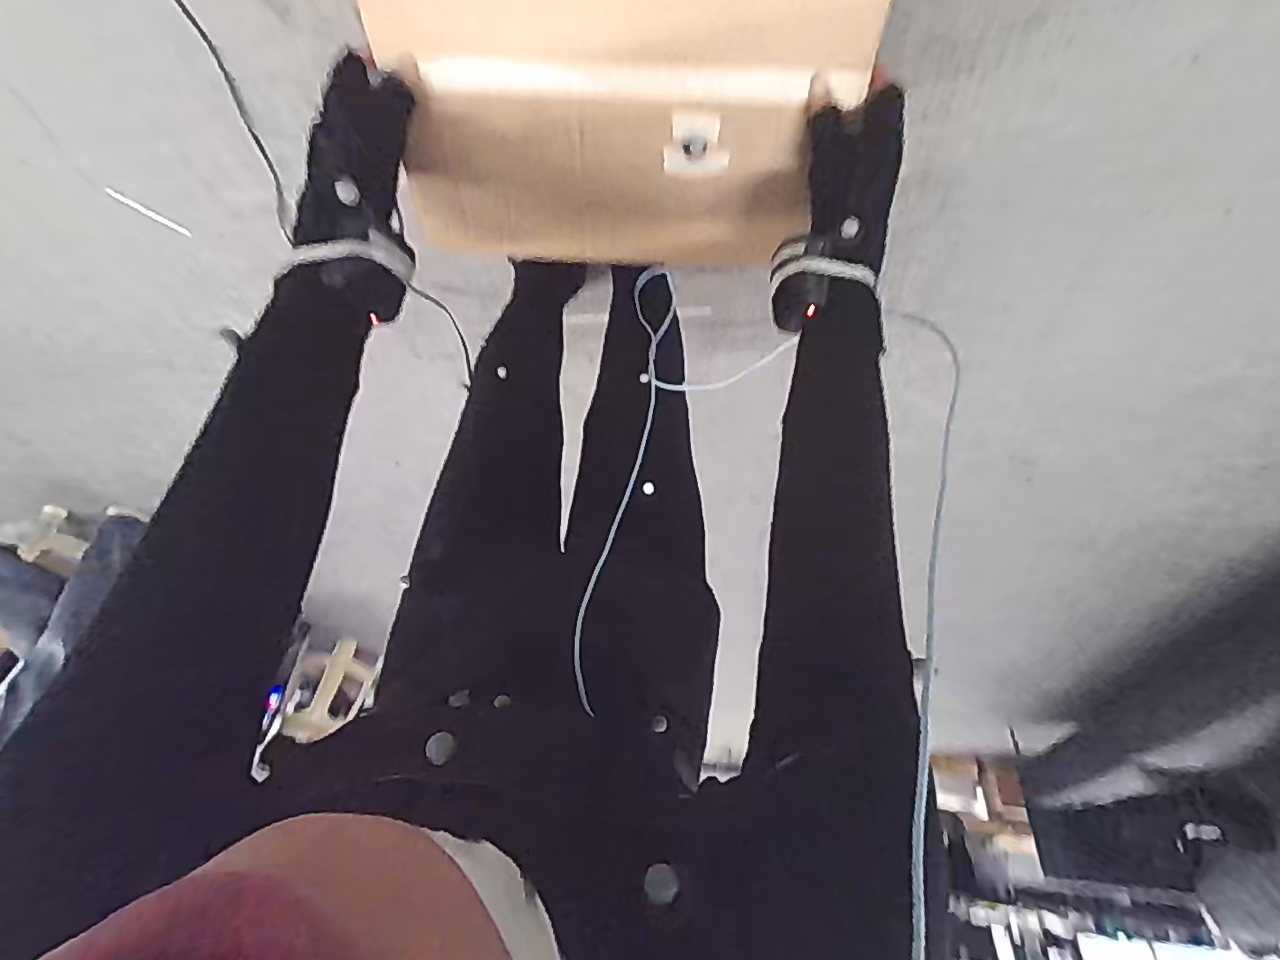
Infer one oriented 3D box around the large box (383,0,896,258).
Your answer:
[{"bbox_3d":[0.001,-0.446,0.551,0.408,0.320,0.320,3,137,1],"label":"large box"}]
